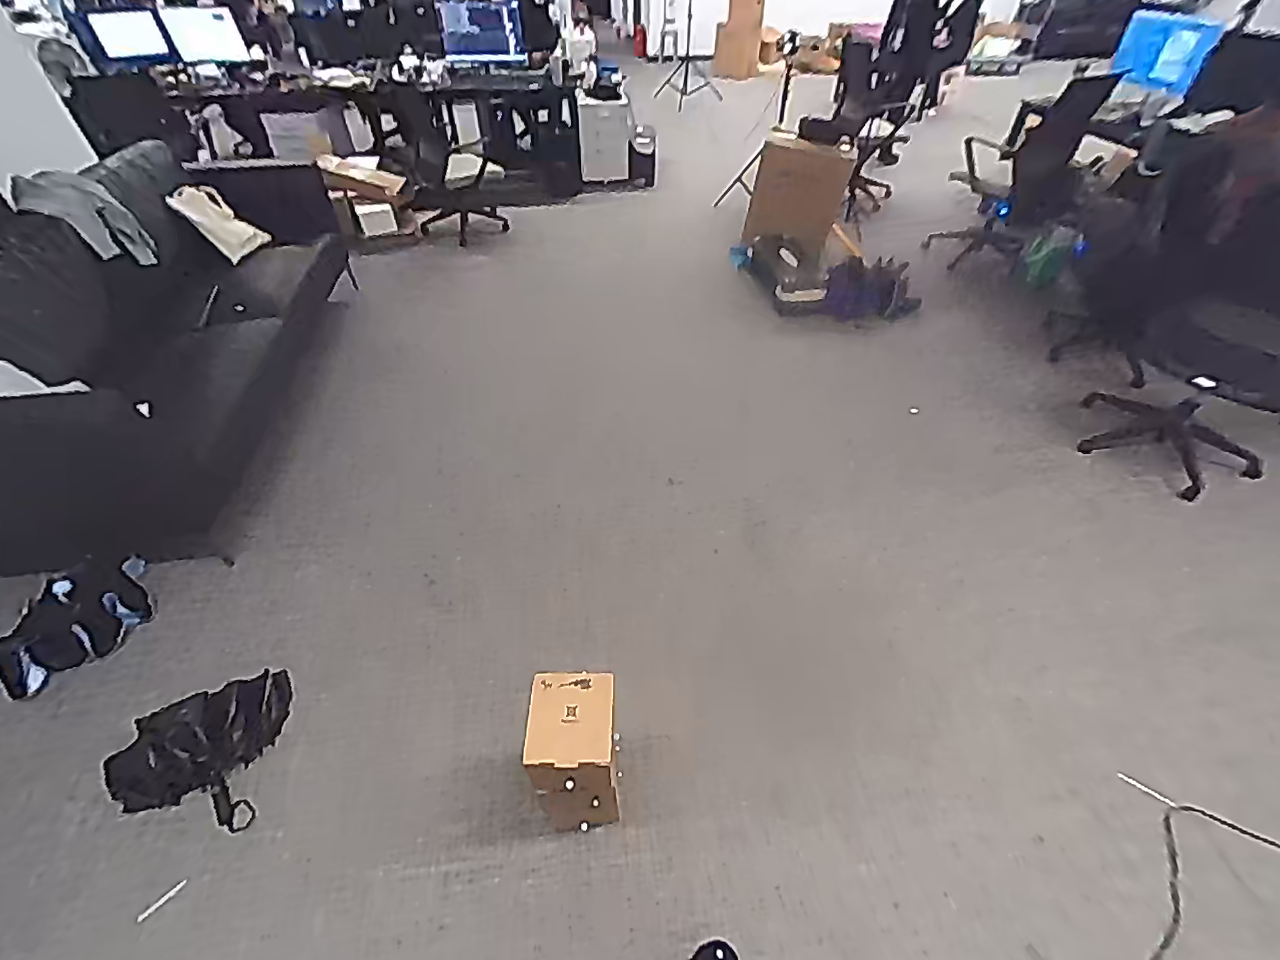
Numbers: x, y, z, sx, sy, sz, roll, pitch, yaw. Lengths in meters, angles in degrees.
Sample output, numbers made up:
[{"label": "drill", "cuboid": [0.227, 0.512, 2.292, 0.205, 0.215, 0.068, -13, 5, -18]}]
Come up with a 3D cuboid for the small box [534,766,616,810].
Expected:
[{"label": "small box", "cuboid": [-0.143, 0.623, 1.215, 0.168, 0.176, 0.179, -5, 46, -5]}]

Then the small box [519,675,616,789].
[{"label": "small box", "cuboid": [-0.136, 0.513, 1.094, 0.168, 0.176, 0.179, -1, 47, 0]}]

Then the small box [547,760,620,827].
[{"label": "small box", "cuboid": [-0.141, 0.730, 1.336, 0.168, 0.176, 0.179, -7, 48, -5]}]
